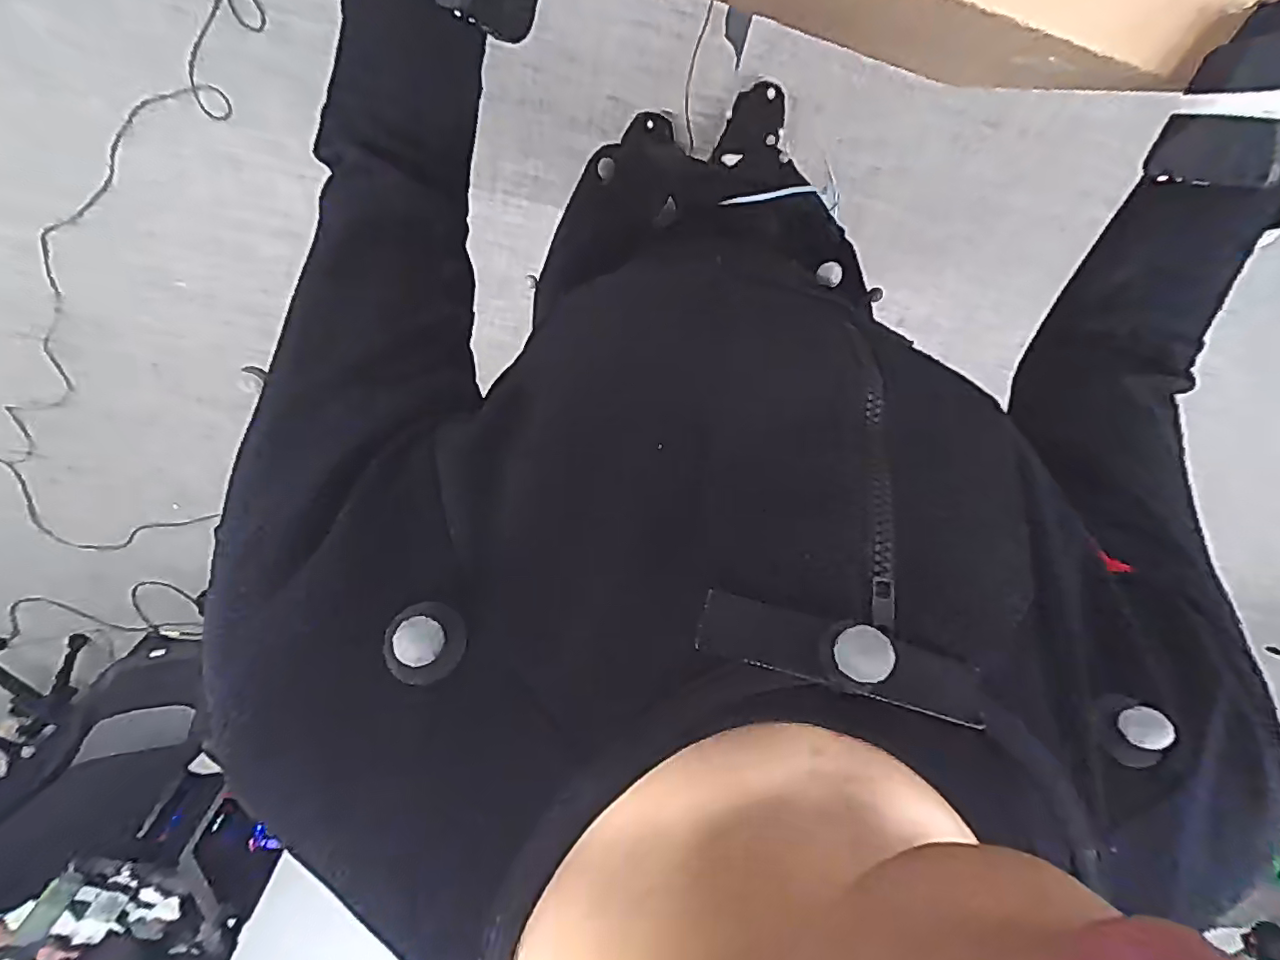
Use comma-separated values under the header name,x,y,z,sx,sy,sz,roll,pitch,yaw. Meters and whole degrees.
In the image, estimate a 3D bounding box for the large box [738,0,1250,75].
name,x,y,z,sx,sy,sz,roll,pitch,yaw
large box,0.173,-0.483,0.321,0.408,0.320,0.320,12,127,-9
